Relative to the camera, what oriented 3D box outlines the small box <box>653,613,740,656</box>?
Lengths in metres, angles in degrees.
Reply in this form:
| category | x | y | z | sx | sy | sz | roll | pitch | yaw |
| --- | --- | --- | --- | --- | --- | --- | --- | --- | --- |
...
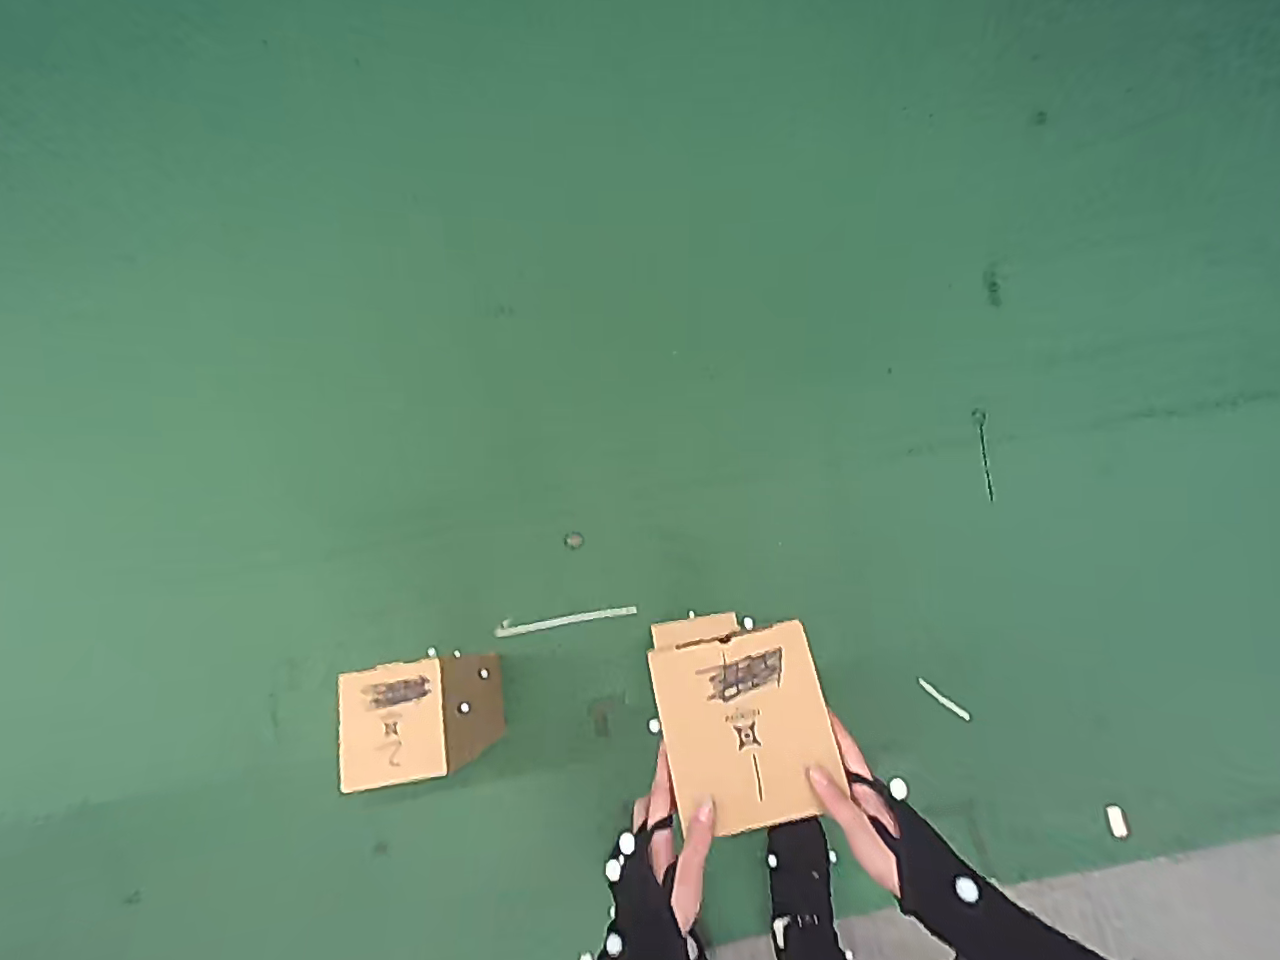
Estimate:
| category | x | y | z | sx | sy | sz | roll | pitch | yaw |
| --- | --- | --- | --- | --- | --- | --- | --- | --- | --- |
| small box | 0.119 | 0.372 | 1.089 | 0.168 | 0.176 | 0.179 | -9 | 73 | -2 |

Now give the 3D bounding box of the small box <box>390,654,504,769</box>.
| category | x | y | z | sx | sy | sz | roll | pitch | yaw |
| --- | --- | --- | --- | --- | --- | --- | --- | --- | --- |
| small box | -0.378 | 0.450 | 1.077 | 0.168 | 0.176 | 0.179 | -10 | 72 | -1 |

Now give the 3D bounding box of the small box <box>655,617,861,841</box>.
| category | x | y | z | sx | sy | sz | roll | pitch | yaw |
| --- | --- | --- | --- | --- | --- | --- | --- | --- | --- |
| small box | 0.111 | 0.260 | 0.598 | 0.168 | 0.176 | 0.179 | -11 | 73 | -2 |
